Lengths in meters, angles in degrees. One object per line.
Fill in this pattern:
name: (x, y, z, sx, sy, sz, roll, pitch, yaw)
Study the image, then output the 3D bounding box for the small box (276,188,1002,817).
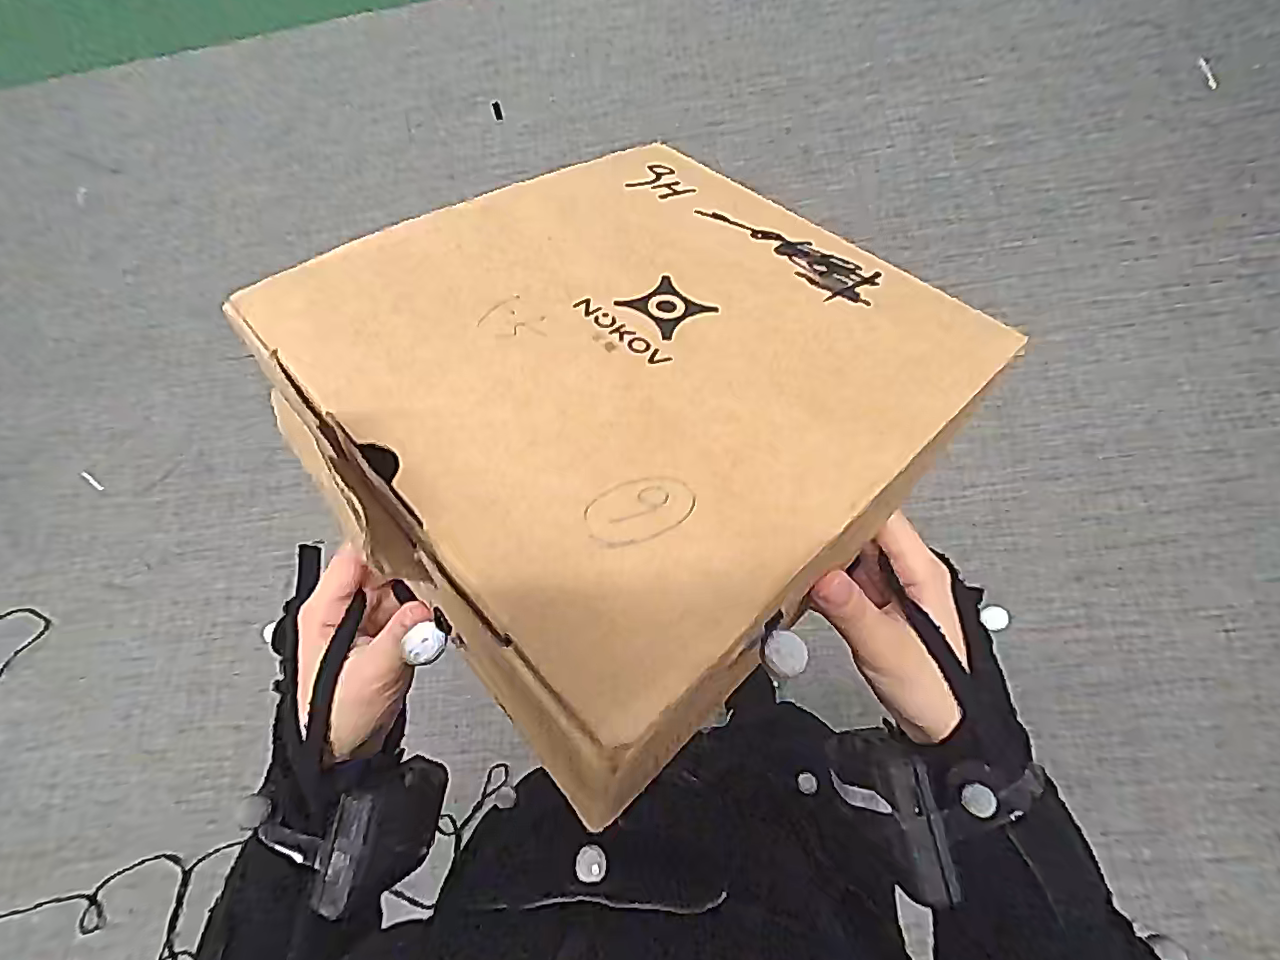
small box: (-0.001, 0.013, 0.236, 0.179, 0.176, 0.168, -36, 65, -26)
